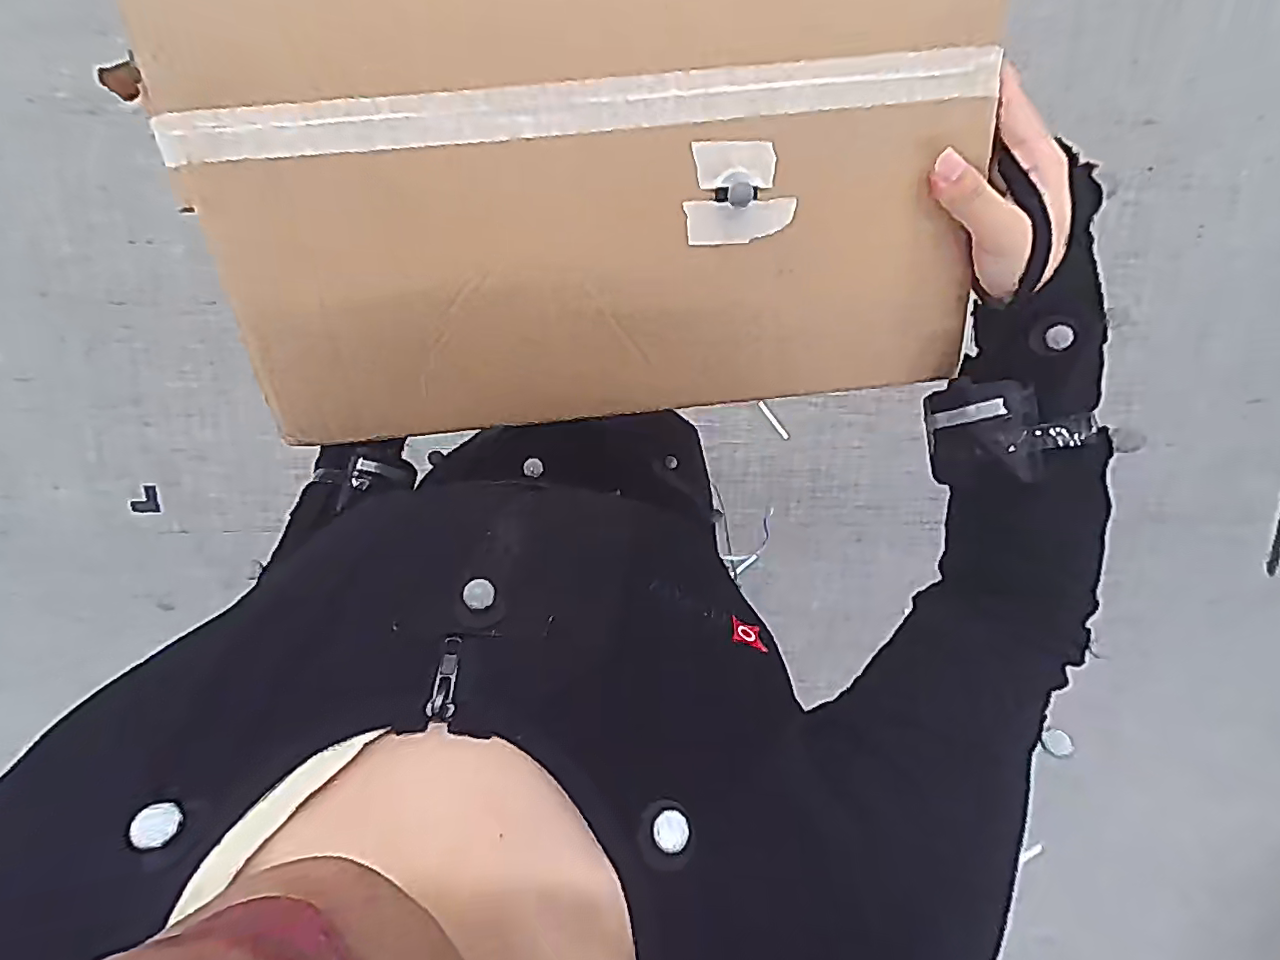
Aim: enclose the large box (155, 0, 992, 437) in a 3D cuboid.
[{"bbox_3d":[-0.034,-0.248,0.411,0.408,0.320,0.320,-7,114,-3],"label":"large box"}]
